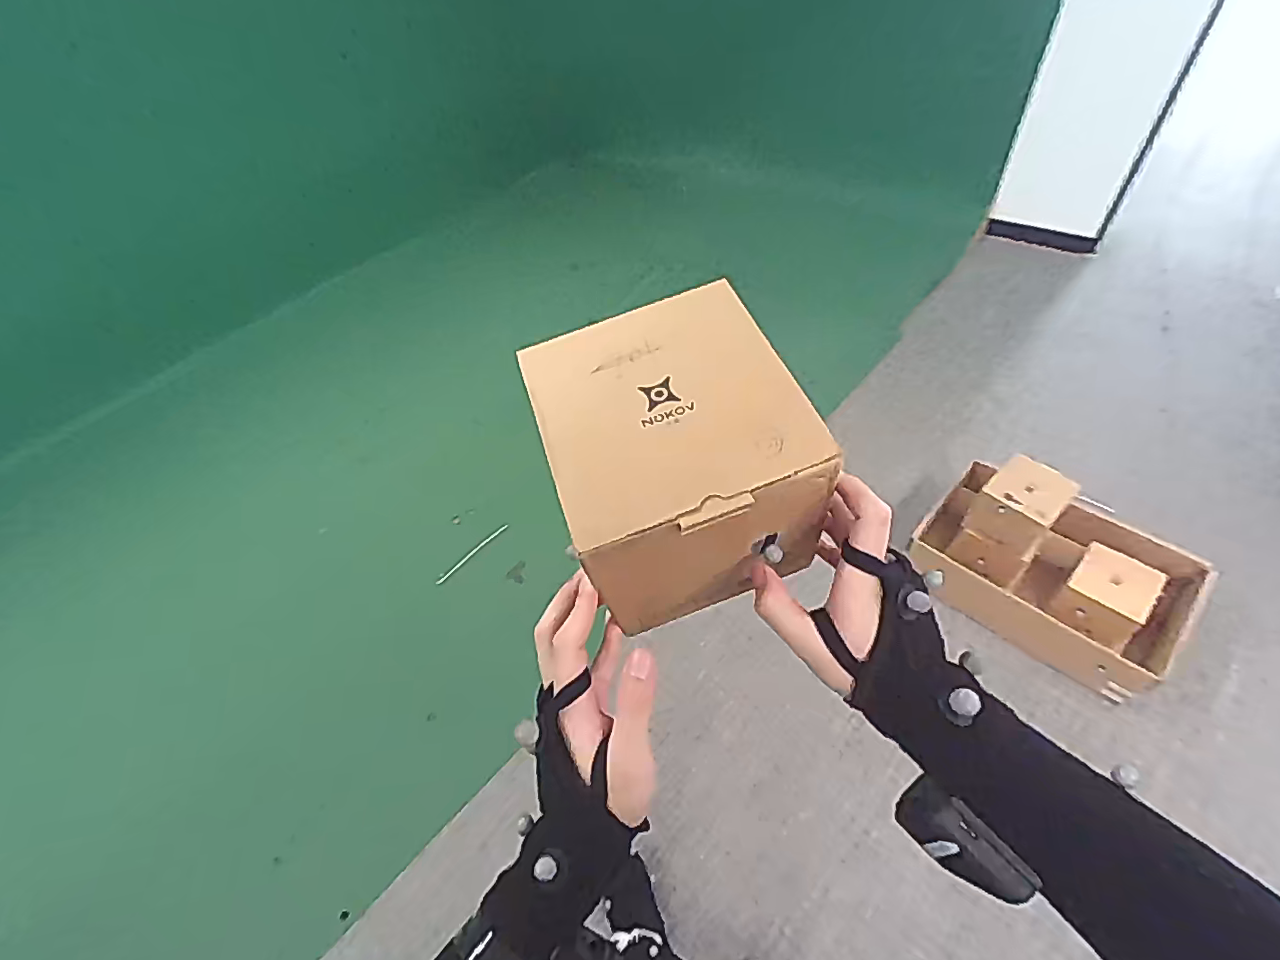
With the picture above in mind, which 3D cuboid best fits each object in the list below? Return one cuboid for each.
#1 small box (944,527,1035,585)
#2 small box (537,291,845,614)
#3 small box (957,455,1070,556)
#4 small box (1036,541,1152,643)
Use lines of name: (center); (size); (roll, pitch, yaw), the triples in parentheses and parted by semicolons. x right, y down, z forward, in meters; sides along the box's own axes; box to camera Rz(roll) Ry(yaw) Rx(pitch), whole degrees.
small box: (1.029, 0.176, 1.595); (0.168, 0.176, 0.179); (34, 64, 29)
small box: (0.035, -0.009, 0.431); (0.168, 0.176, 0.179); (-19, 58, -3)
small box: (1.004, 0.072, 1.471); (0.179, 0.176, 0.168); (-37, 55, -19)
small box: (1.215, 0.306, 1.461); (0.168, 0.176, 0.179); (33, 64, 31)
